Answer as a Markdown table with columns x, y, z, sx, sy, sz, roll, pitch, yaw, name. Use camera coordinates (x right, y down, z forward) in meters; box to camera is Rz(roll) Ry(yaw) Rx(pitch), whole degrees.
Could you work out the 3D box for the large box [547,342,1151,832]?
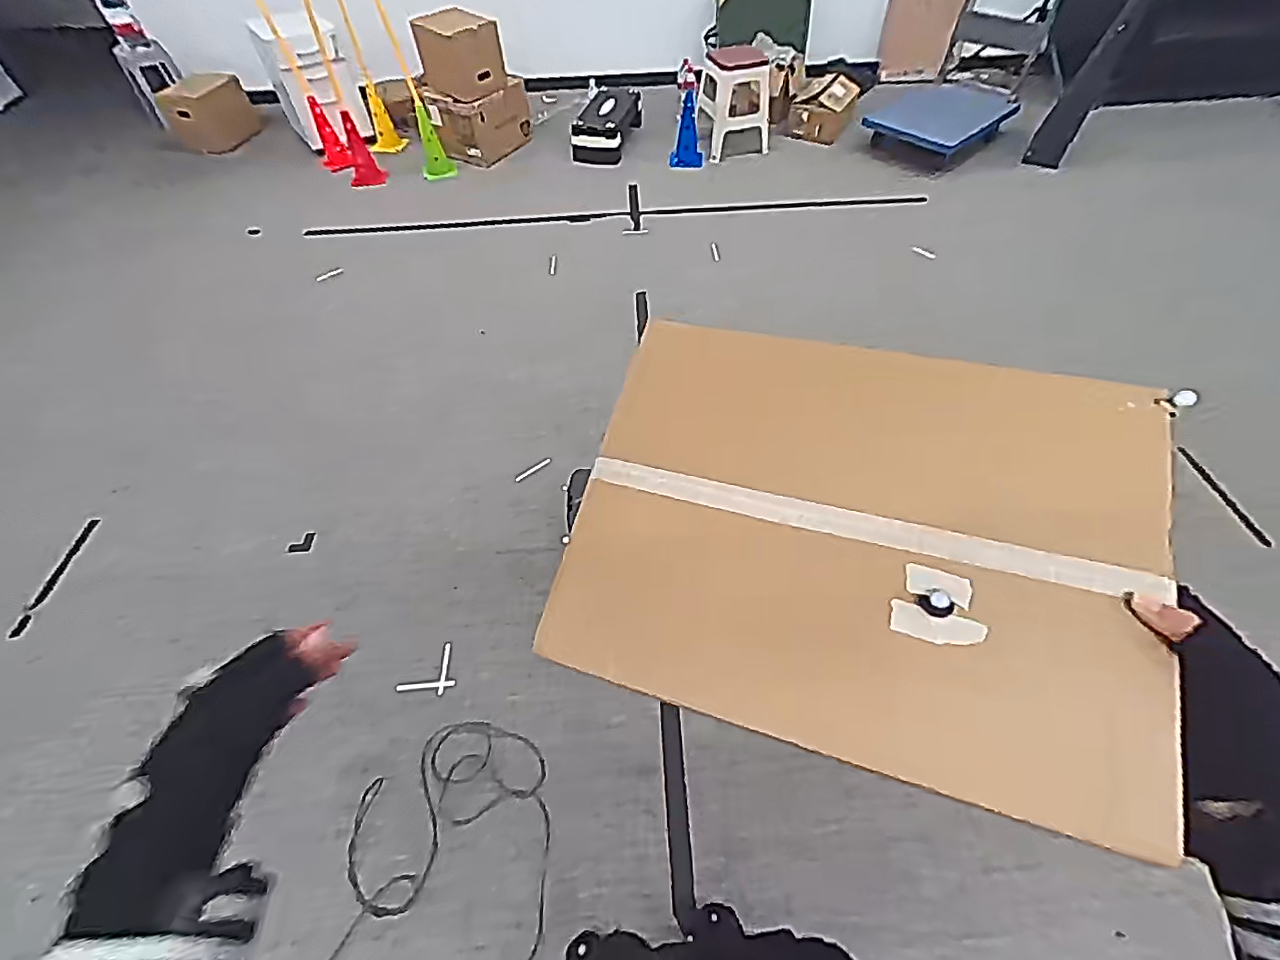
| x | y | z | sx | sy | sz | roll | pitch | yaw | name |
| --- | --- | --- | --- | --- | --- | --- | --- | --- | --- |
| 0.177 | 0.096 | 0.553 | 0.408 | 0.320 | 0.320 | 12 | 70 | 15 | large box |
